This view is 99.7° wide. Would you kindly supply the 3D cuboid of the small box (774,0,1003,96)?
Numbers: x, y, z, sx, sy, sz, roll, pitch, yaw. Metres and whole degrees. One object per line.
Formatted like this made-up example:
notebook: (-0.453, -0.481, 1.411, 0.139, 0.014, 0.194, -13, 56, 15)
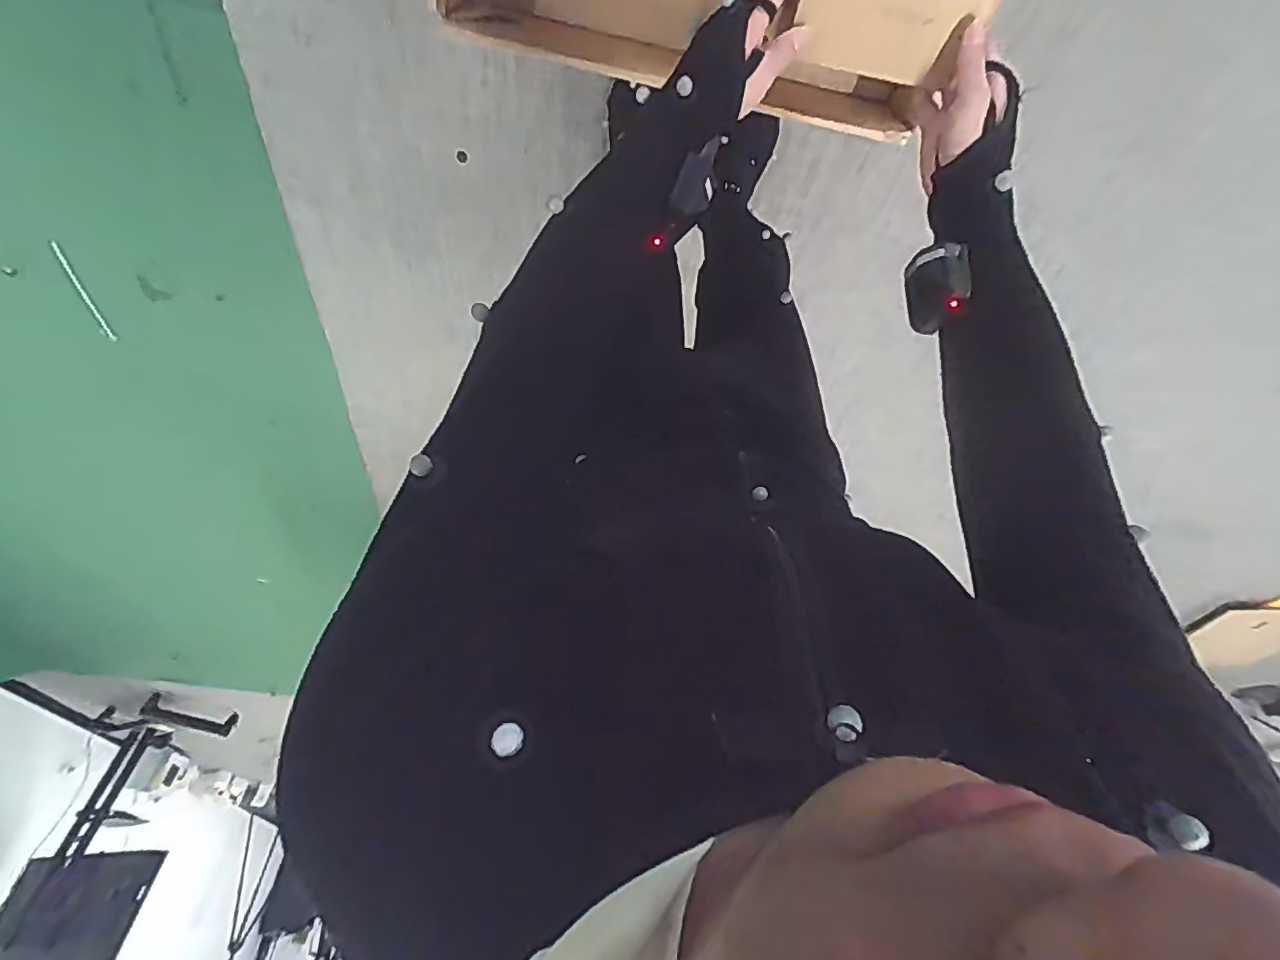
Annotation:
small box: (0.228, -0.482, 0.481, 0.168, 0.176, 0.179, 10, 137, -5)
